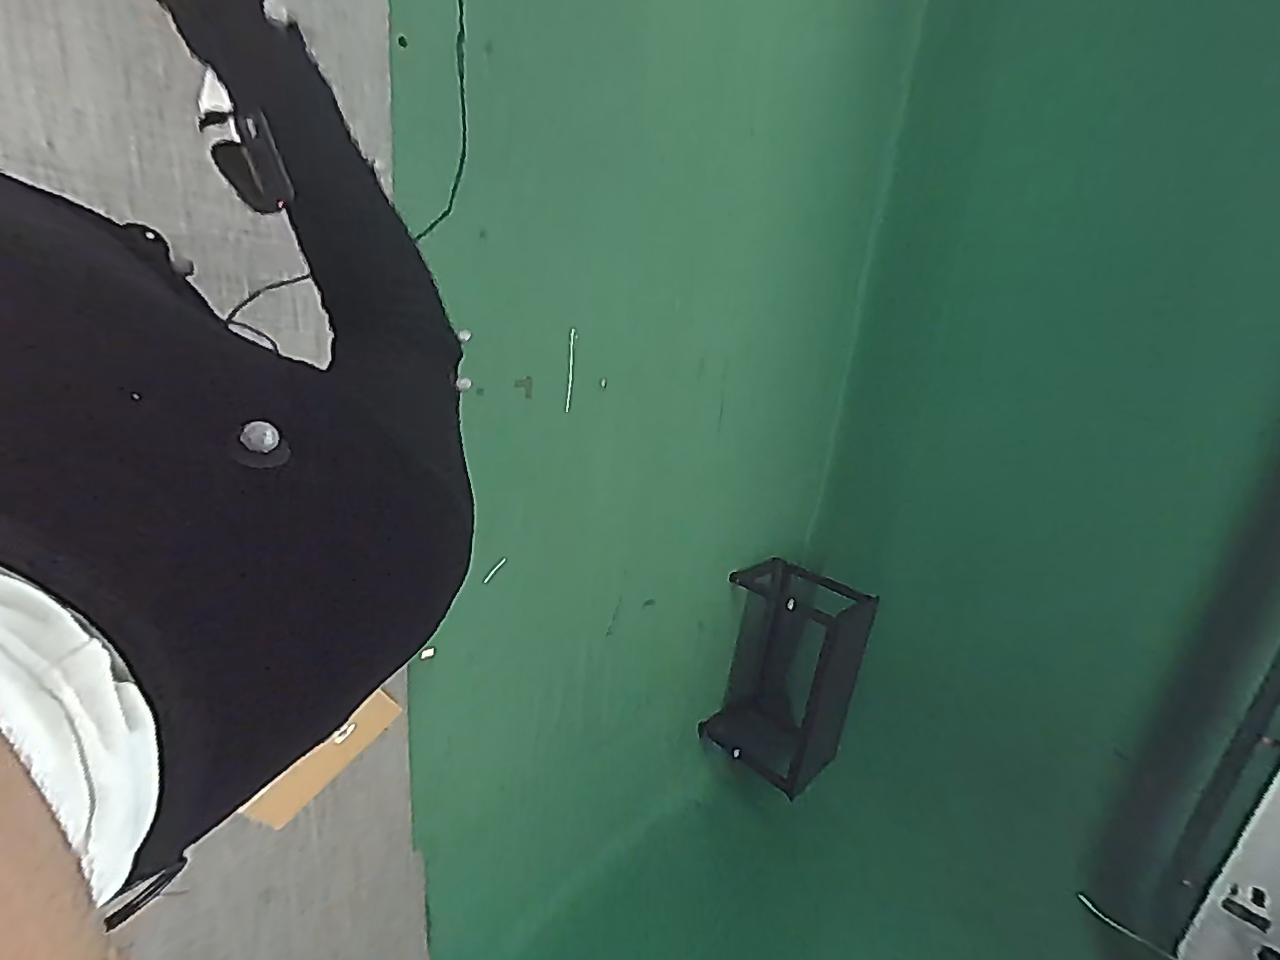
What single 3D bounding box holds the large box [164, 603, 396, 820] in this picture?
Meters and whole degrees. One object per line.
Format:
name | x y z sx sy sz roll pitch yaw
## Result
large box | -1.000 0.635 1.526 0.408 0.320 0.320 -45 136 -27
